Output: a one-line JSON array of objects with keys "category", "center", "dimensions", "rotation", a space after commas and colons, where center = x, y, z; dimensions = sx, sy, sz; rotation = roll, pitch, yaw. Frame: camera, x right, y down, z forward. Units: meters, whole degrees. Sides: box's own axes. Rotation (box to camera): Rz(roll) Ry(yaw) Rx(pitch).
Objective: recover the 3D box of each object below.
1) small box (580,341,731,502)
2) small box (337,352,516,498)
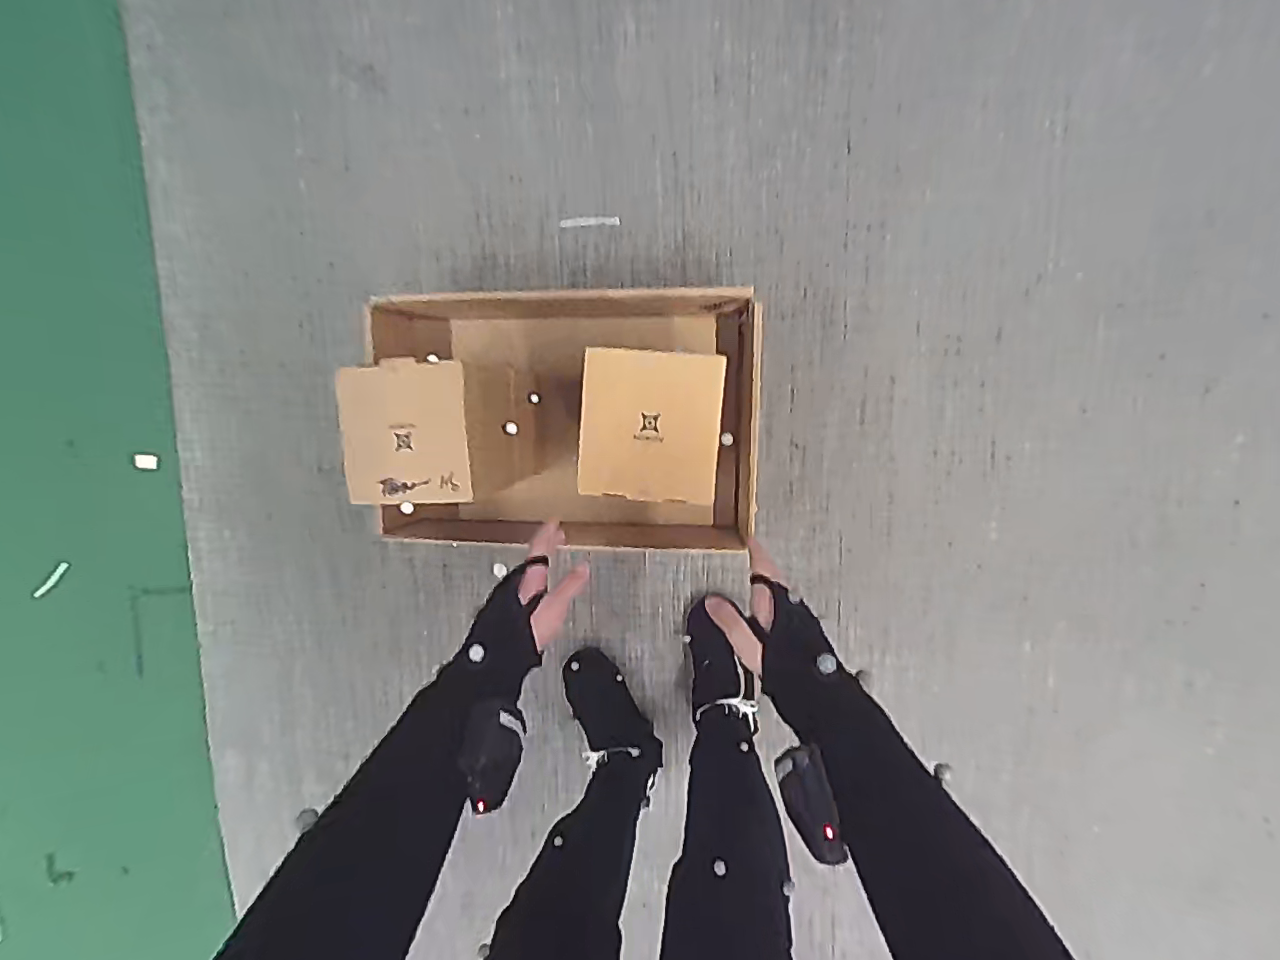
[{"category": "small box", "center": [0.022, -0.078, 0.705], "dimensions": [0.168, 0.176, 0.179], "rotation": [5, 99, 5]}, {"category": "small box", "center": [-0.276, -0.072, 0.734], "dimensions": [0.168, 0.176, 0.179], "rotation": [-1, 96, 8]}]
